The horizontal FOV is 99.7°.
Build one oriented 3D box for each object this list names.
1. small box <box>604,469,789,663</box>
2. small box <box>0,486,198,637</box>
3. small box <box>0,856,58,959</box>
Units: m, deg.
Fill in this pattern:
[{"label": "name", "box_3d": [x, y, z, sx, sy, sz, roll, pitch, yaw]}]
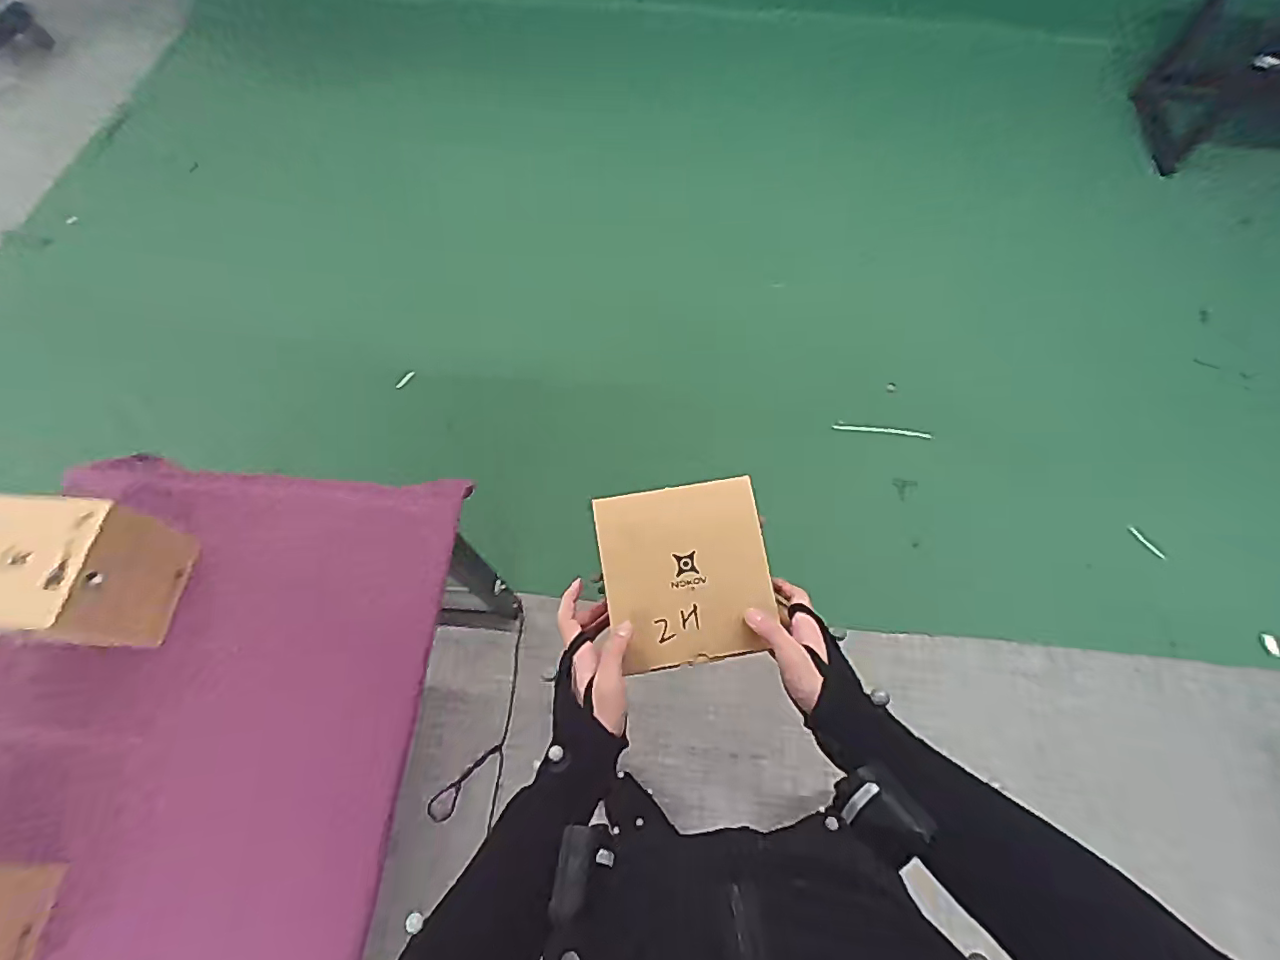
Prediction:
[{"label": "small box", "box_3d": [0.050, 0.097, 0.610, 0.168, 0.176, 0.179, -7, 80, -3]}, {"label": "small box", "box_3d": [-0.780, 0.118, 0.745, 0.179, 0.176, 0.168, 3, 66, 1]}, {"label": "small box", "box_3d": [-0.804, 0.509, 0.565, 0.179, 0.176, 0.168, 2, 66, 0]}]
